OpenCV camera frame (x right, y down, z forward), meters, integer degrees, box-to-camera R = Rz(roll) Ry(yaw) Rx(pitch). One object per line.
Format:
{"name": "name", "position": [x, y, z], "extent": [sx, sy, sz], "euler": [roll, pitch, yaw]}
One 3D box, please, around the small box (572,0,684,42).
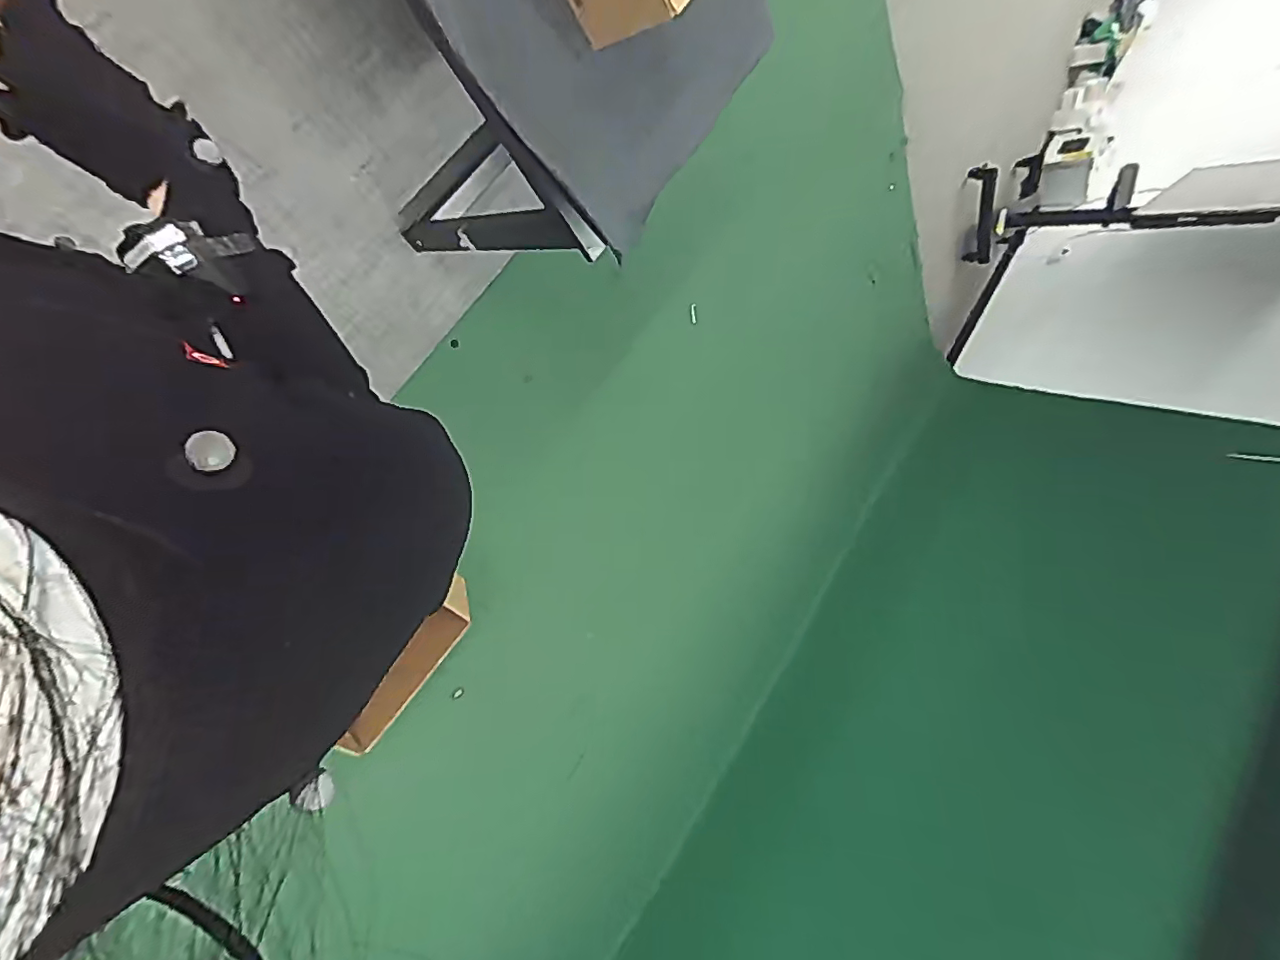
{"name": "small box", "position": [-0.009, -0.724, 0.704], "extent": [0.179, 0.176, 0.168], "euler": [-57, 137, -13]}
